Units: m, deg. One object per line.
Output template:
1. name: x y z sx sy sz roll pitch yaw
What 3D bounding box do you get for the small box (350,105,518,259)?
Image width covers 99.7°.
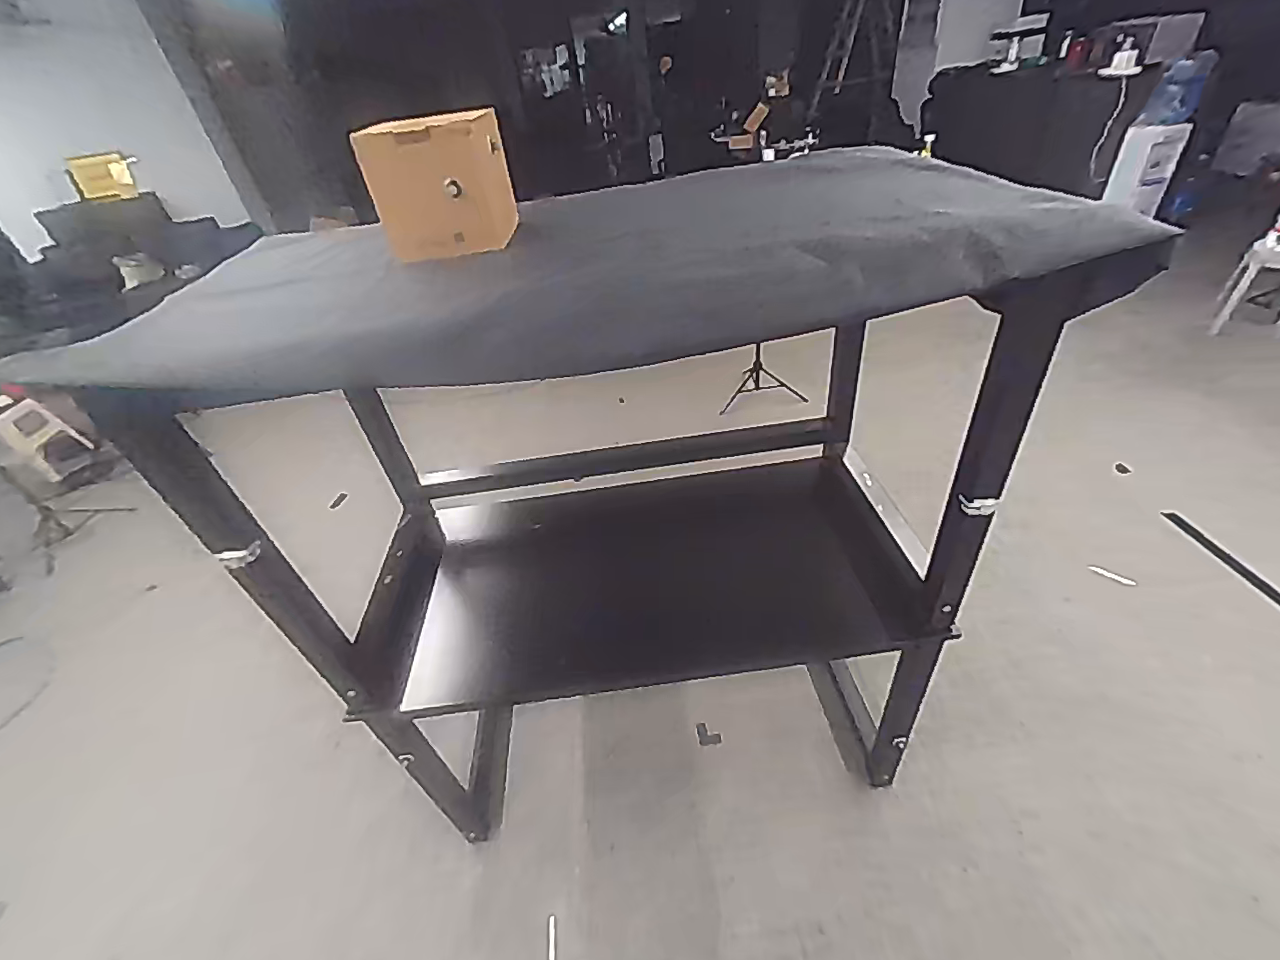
1. small box: -0.290 -0.441 0.810 0.168 0.176 0.179 -6 39 2
